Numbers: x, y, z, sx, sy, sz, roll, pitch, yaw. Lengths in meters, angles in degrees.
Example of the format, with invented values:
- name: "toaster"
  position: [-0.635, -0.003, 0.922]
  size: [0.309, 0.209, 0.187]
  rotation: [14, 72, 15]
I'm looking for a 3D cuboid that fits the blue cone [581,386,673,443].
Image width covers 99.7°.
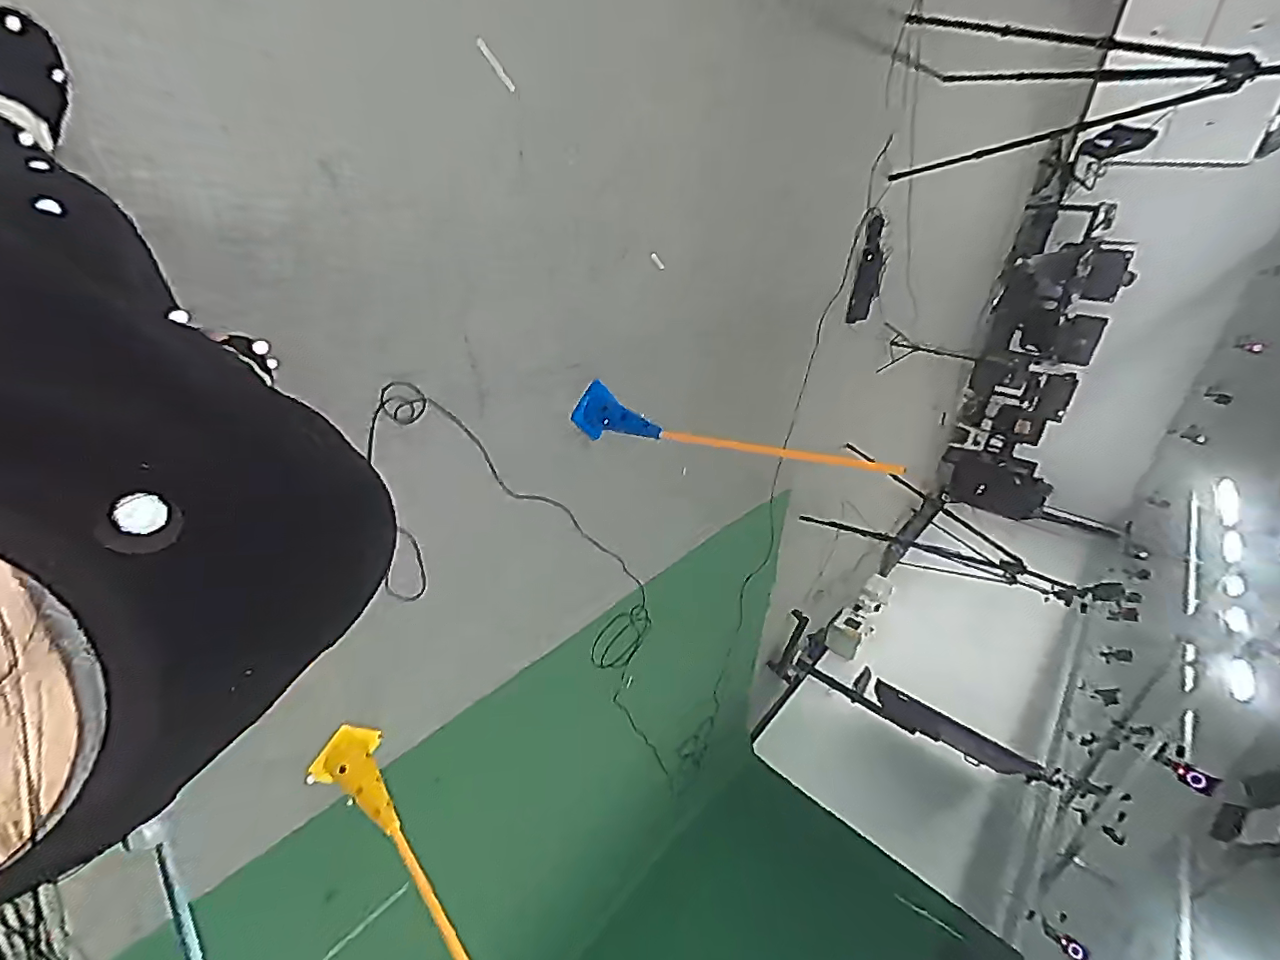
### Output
- name: "blue cone"
  position: [-0.031, -0.215, 2.091]
  size: [0.193, 0.380, 0.192]
  rotation: [-61, 143, -8]
